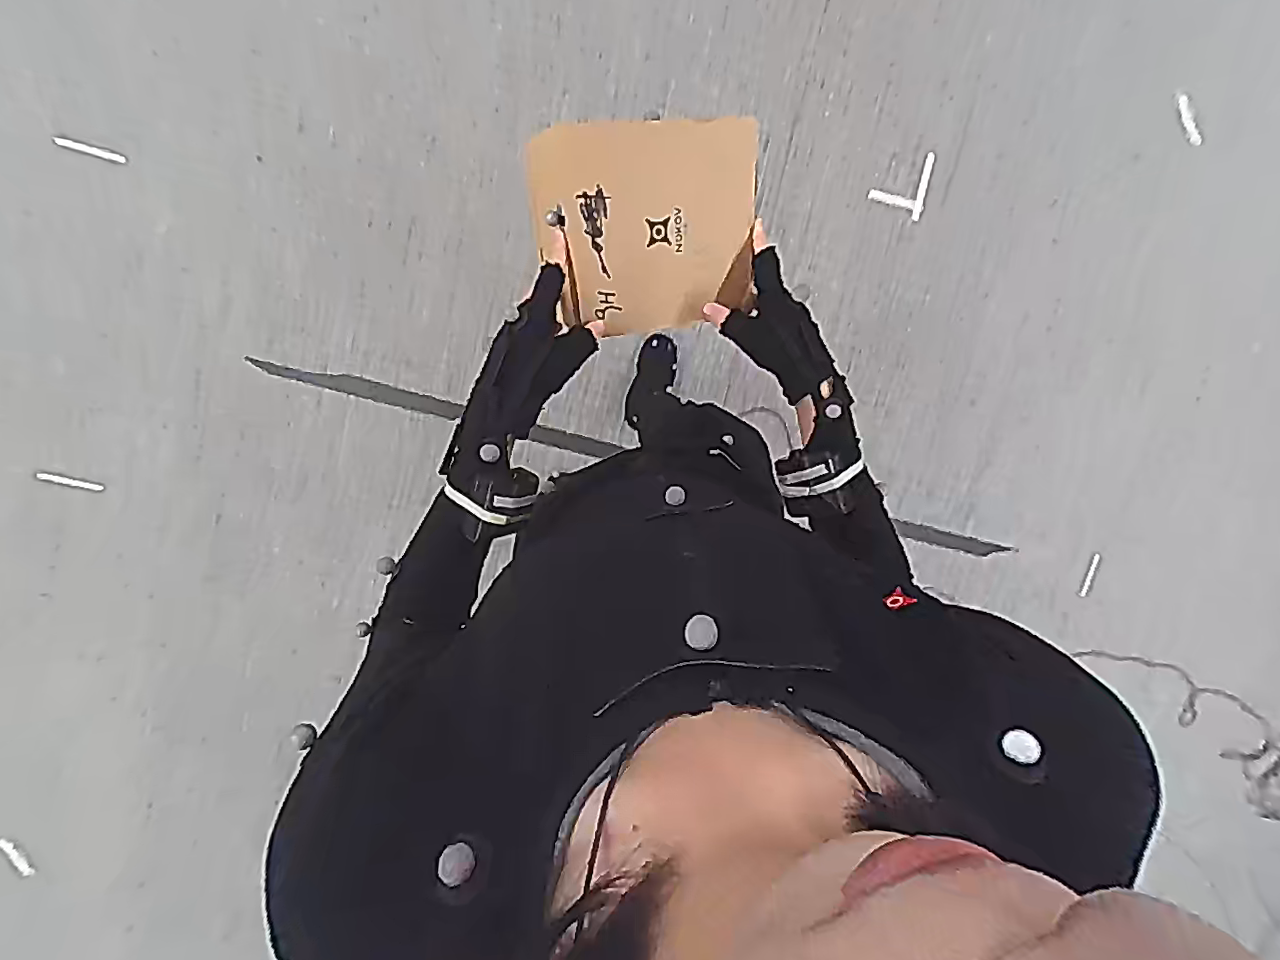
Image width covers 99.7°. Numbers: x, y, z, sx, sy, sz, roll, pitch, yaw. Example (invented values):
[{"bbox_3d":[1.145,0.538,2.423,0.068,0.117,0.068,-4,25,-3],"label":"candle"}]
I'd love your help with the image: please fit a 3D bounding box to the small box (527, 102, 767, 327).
[{"bbox_3d":[0.001,-0.257,0.525,0.179,0.176,0.168,-13,119,-16],"label":"small box"}]
